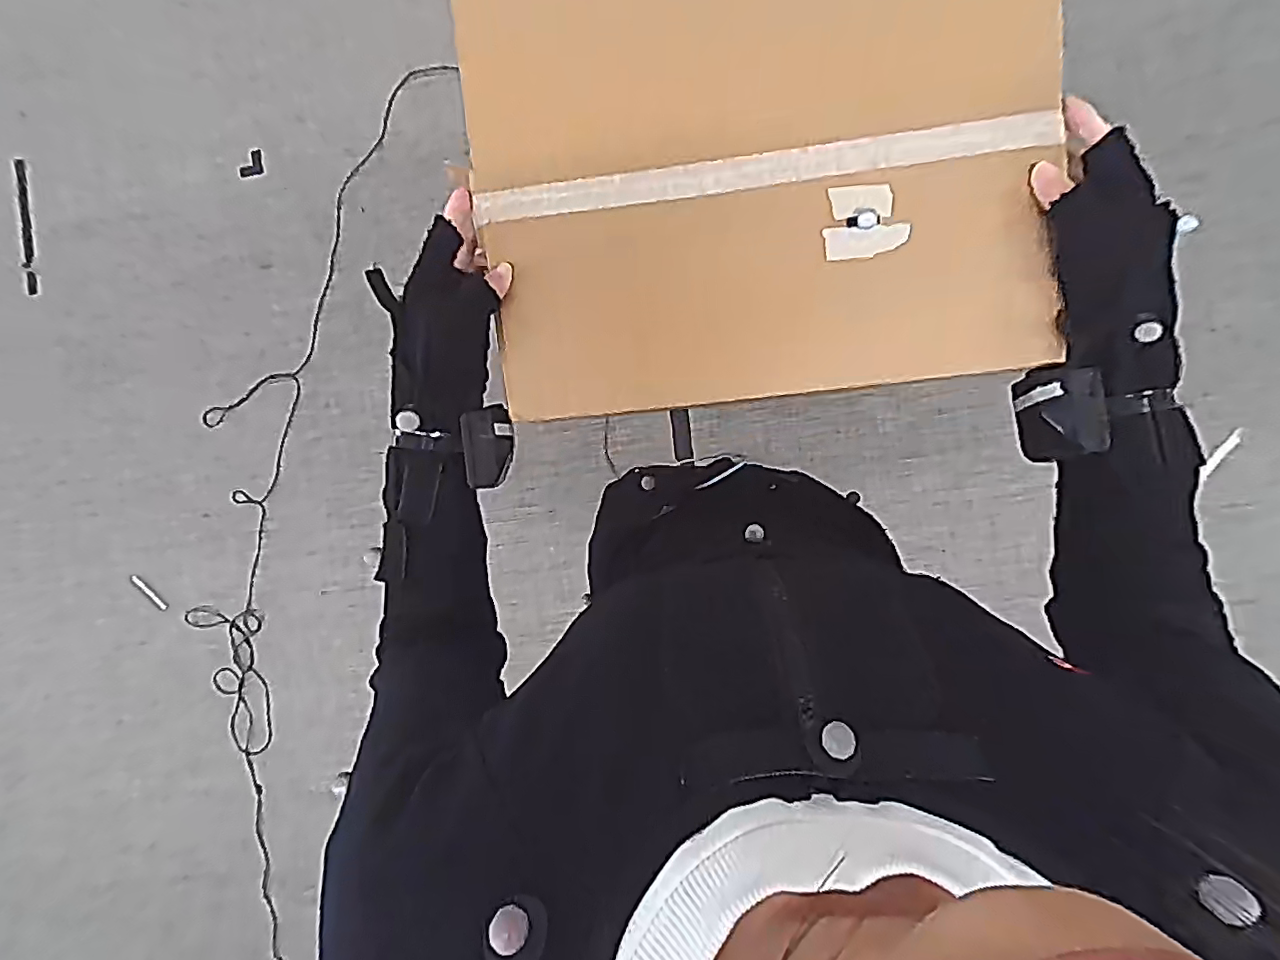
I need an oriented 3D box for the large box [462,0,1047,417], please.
[{"bbox_3d":[0.090,-0.242,0.539,0.408,0.320,0.320,-6,98,3],"label":"large box"}]
